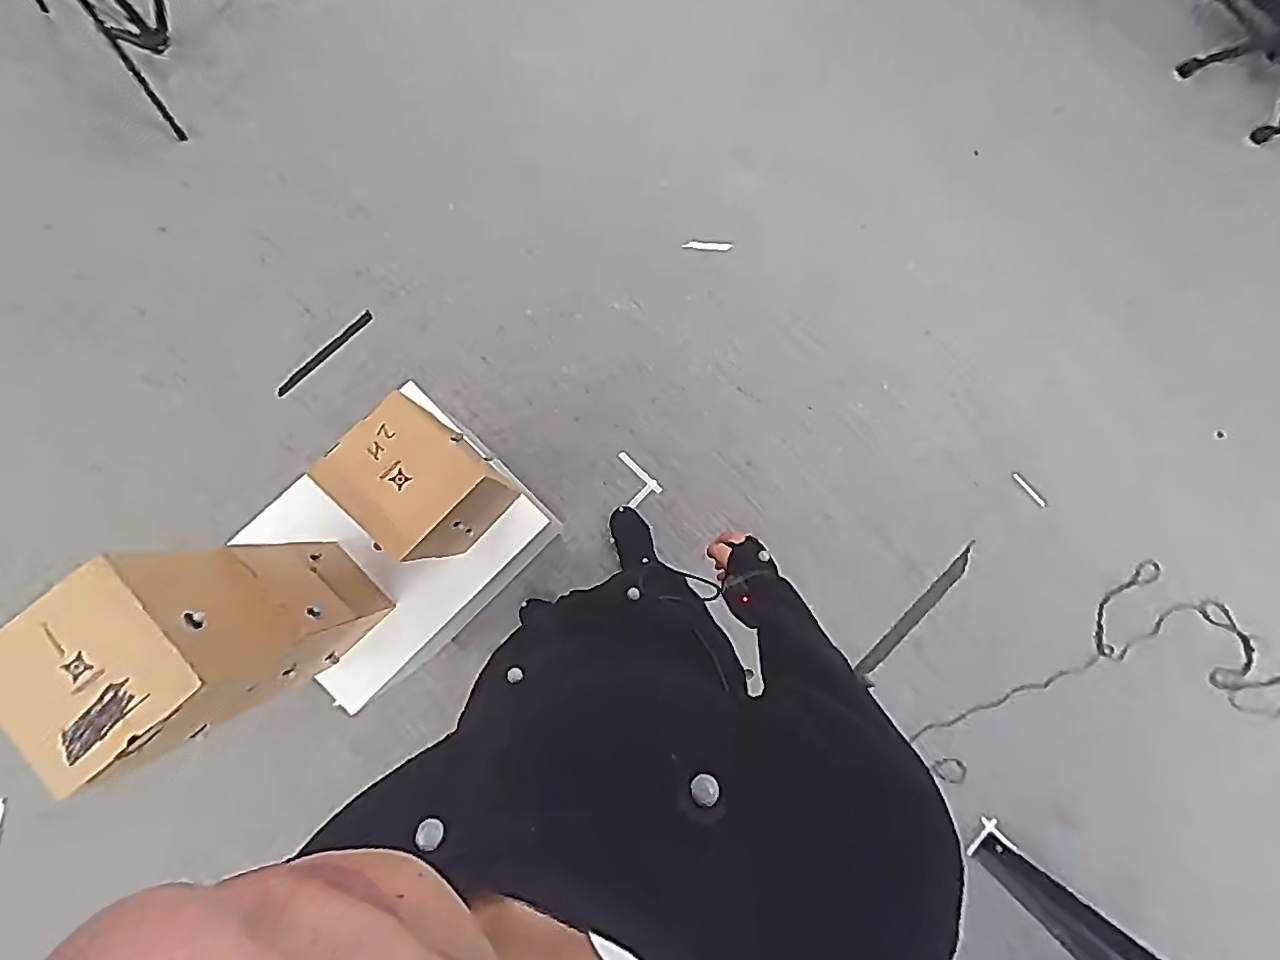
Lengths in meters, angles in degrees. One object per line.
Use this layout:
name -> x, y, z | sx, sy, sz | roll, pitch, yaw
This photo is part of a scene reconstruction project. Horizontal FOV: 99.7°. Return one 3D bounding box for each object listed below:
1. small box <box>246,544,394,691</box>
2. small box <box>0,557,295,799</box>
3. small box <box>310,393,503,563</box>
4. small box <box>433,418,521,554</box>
small box -> -0.567, 0.224, 0.937 | 0.168, 0.176, 0.179 | -44, 88, -8
small box -> -0.544, 0.199, 0.609 | 0.168, 0.176, 0.179 | -41, 87, -7
small box -> -0.330, 0.001, 0.808 | 0.179, 0.176, 0.168 | 44, 83, 1
small box -> -0.340, 0.017, 0.972 | 0.179, 0.176, 0.168 | 43, 84, 1
